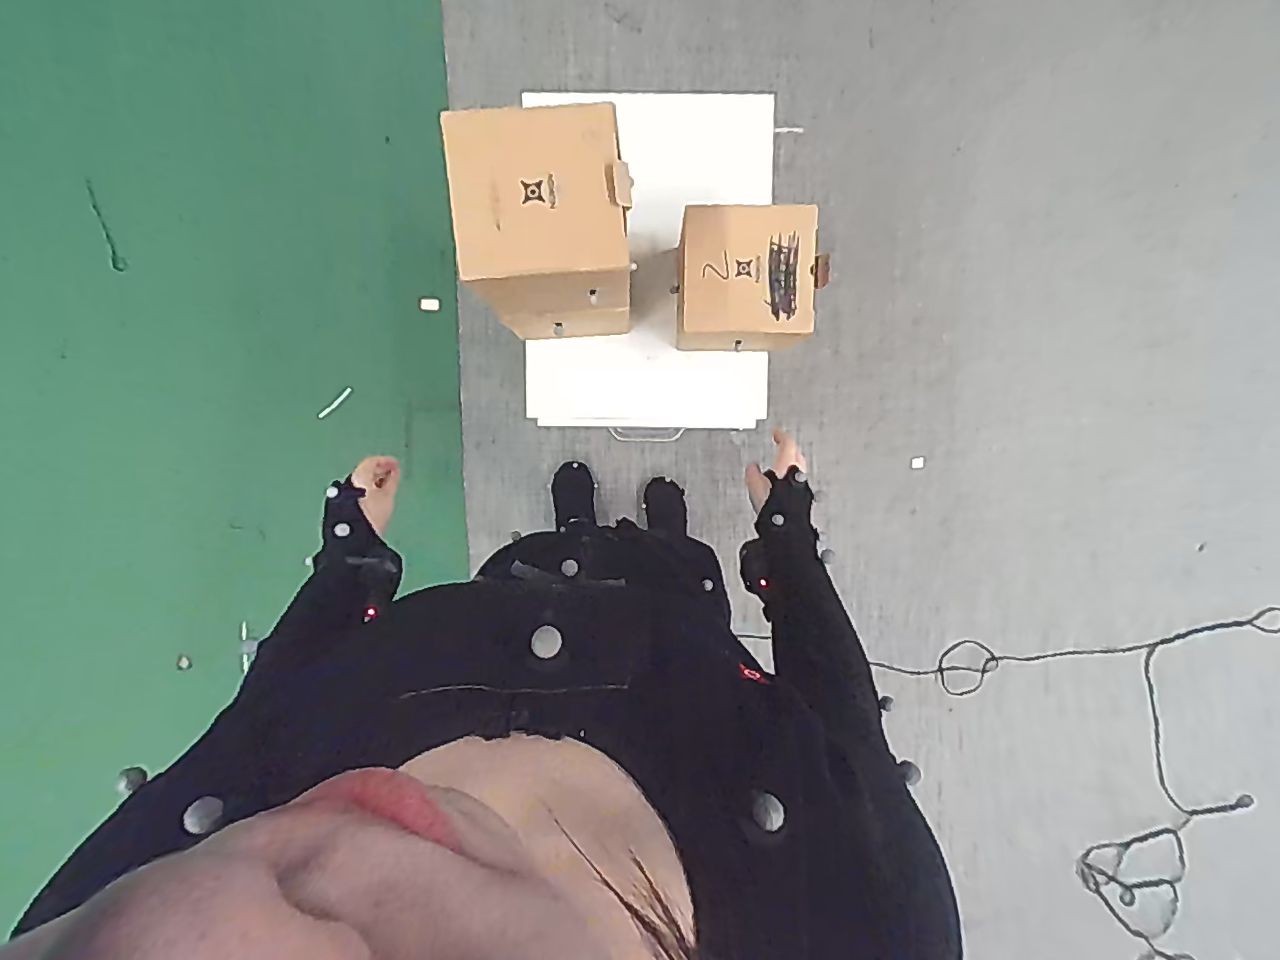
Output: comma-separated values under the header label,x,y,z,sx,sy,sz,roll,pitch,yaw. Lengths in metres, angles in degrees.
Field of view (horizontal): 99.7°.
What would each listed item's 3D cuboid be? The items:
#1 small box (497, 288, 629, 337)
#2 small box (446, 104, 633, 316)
label,x,y,z,sx,sy,sz,roll,pitch,yaw
small box,-0.108,-0.308,0.788,0.179,0.176,0.168,-4,96,-1
small box,-0.104,-0.296,0.625,0.179,0.176,0.168,-5,94,-1
